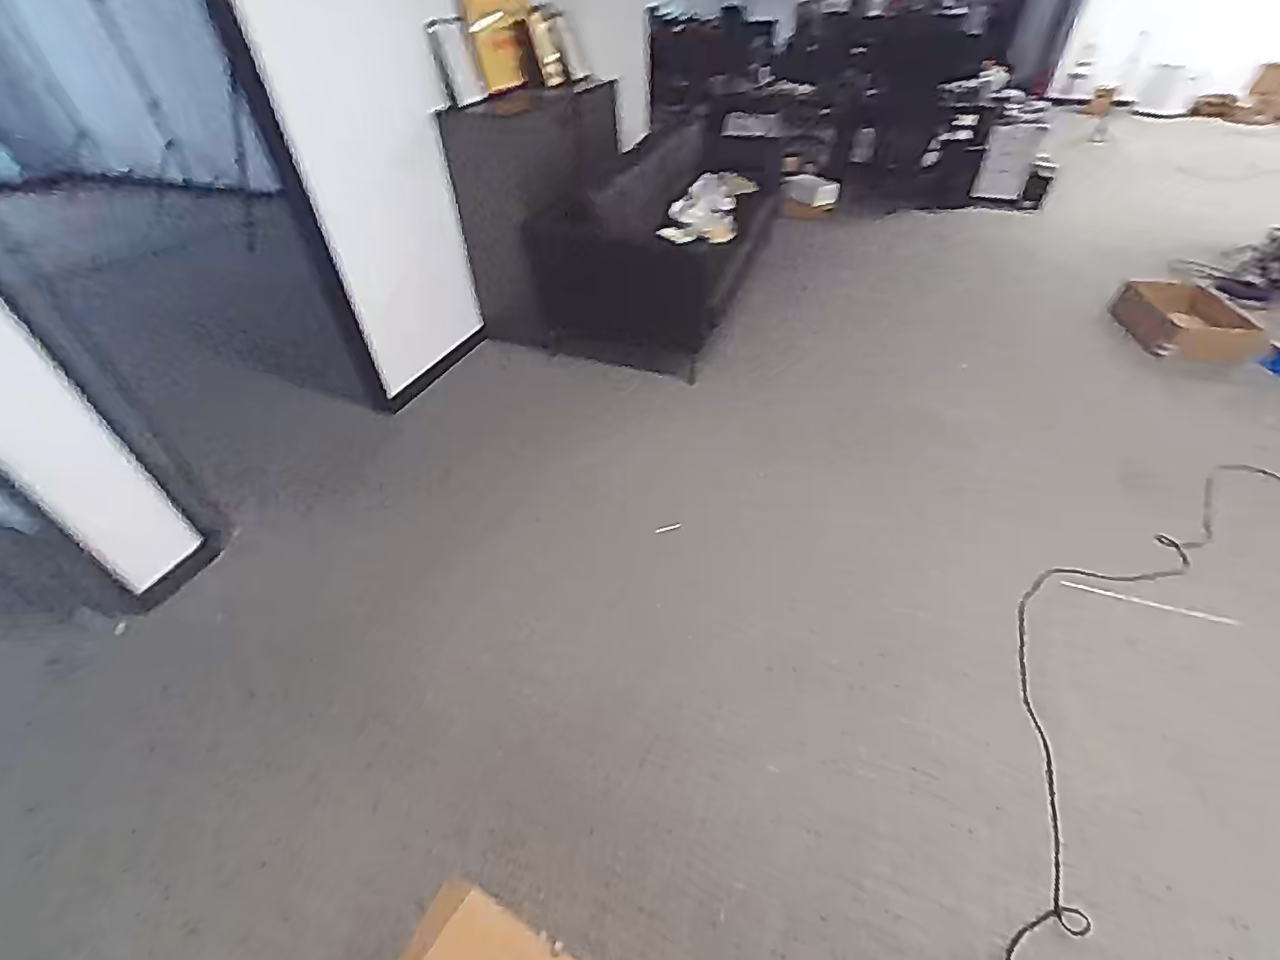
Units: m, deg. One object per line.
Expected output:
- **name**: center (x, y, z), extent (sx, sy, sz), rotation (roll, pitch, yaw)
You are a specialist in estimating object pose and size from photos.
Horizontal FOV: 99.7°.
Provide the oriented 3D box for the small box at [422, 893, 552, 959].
- **small box**: center (-0.144, 0.568, 0.539), extent (0.179, 0.176, 0.168), rotation (19, 45, 26)
